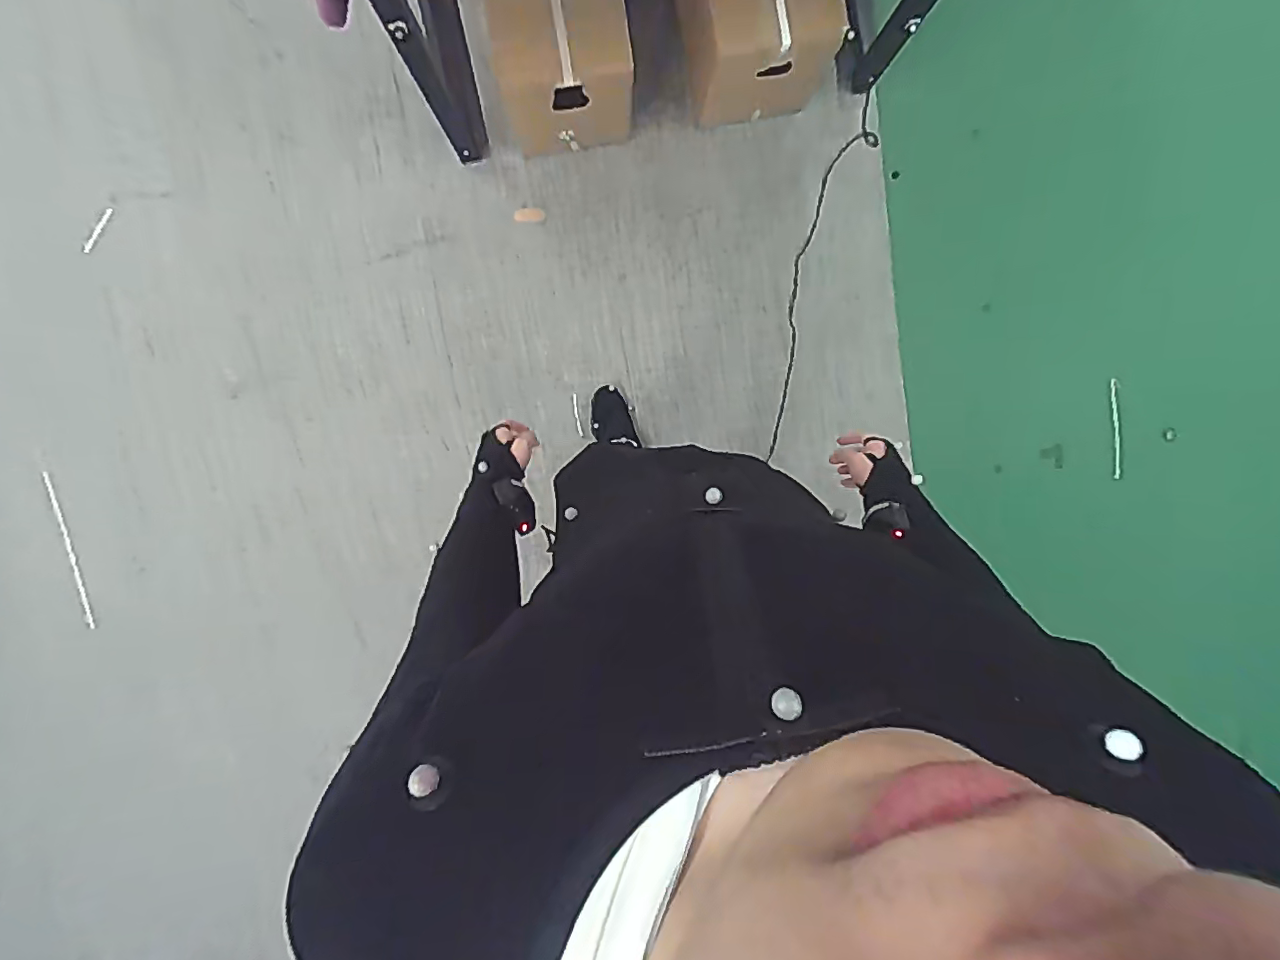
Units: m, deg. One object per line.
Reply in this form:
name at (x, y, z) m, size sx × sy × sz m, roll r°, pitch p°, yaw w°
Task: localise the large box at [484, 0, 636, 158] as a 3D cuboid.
large box at (-0.199, -1.106, 1.350) m, size 0.320 × 0.320 × 0.408 m, roll -10°, pitch 95°, yaw -2°
